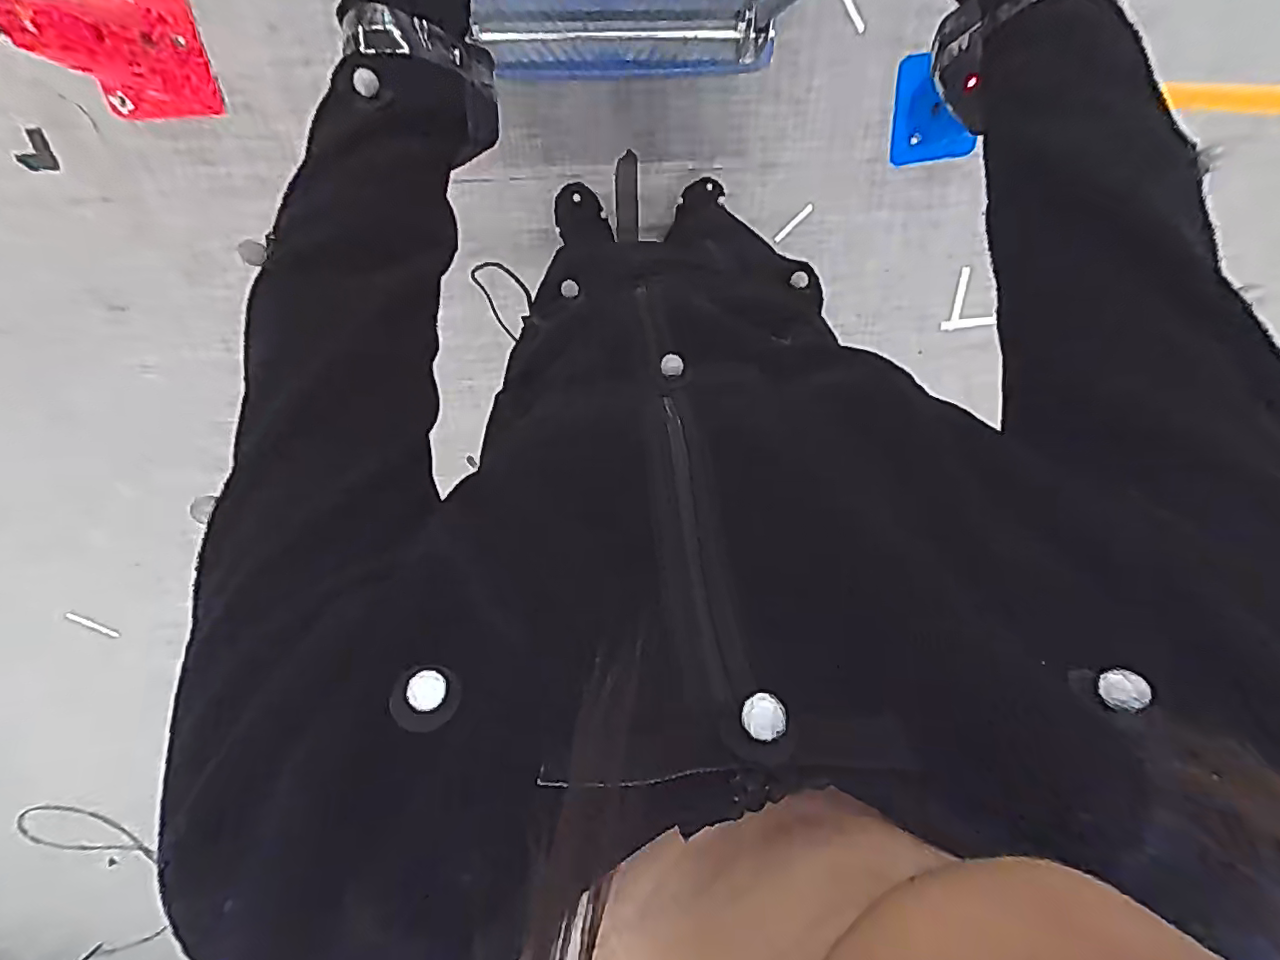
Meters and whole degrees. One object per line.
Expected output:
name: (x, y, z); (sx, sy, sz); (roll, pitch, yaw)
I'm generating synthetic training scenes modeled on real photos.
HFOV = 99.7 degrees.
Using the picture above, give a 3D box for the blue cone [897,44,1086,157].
blue cone: (0.671, -0.732, 1.025); (0.193, 0.380, 0.192); (-9, 121, -3)
